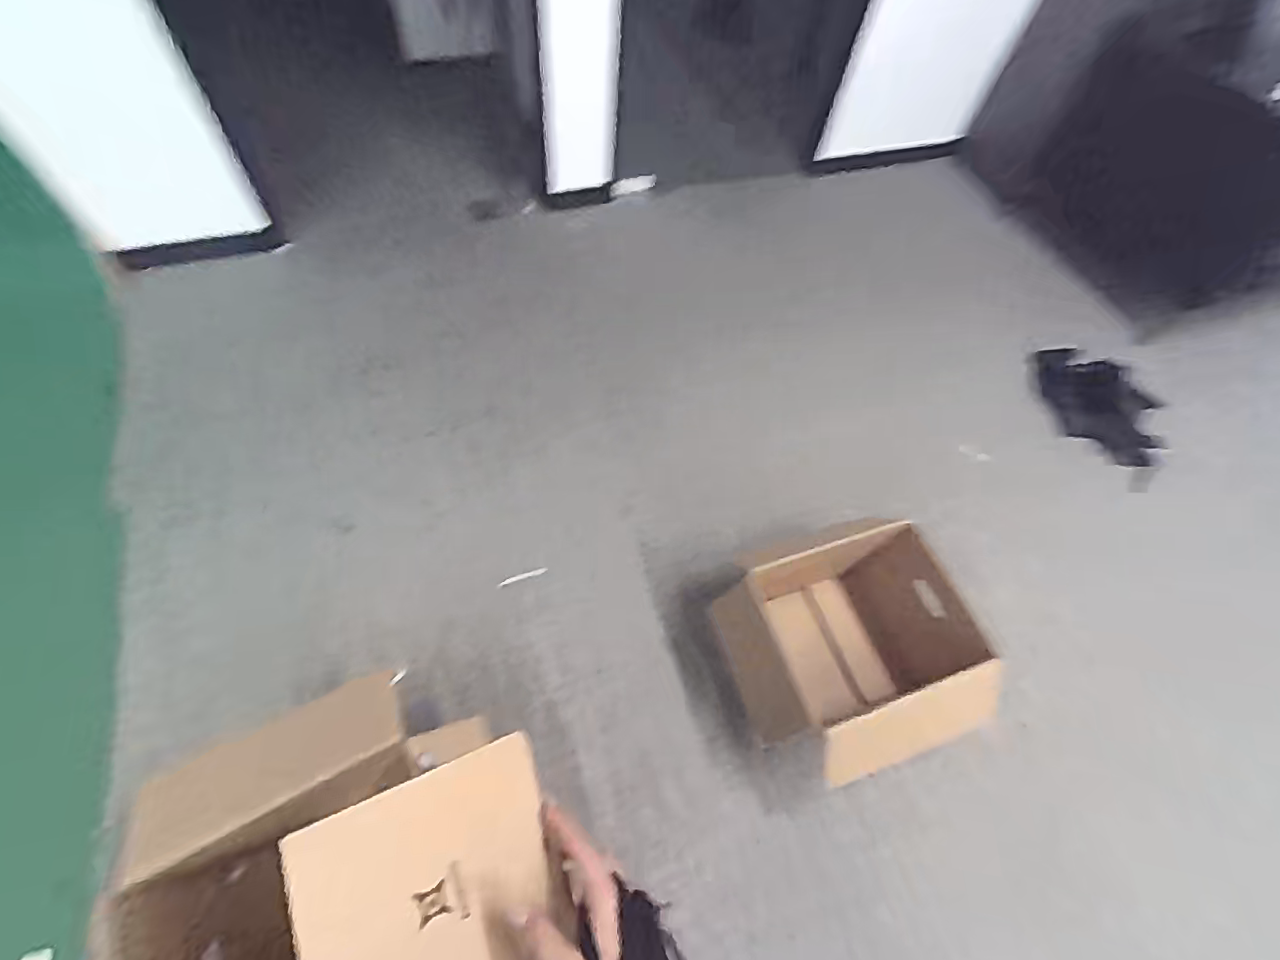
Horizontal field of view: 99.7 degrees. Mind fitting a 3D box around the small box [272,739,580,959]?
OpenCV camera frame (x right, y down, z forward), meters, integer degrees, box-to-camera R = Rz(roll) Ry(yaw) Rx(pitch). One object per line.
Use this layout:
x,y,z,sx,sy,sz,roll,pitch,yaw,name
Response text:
-0.159,0.332,0.435,0.179,0.176,0.168,-15,66,-20,small box
